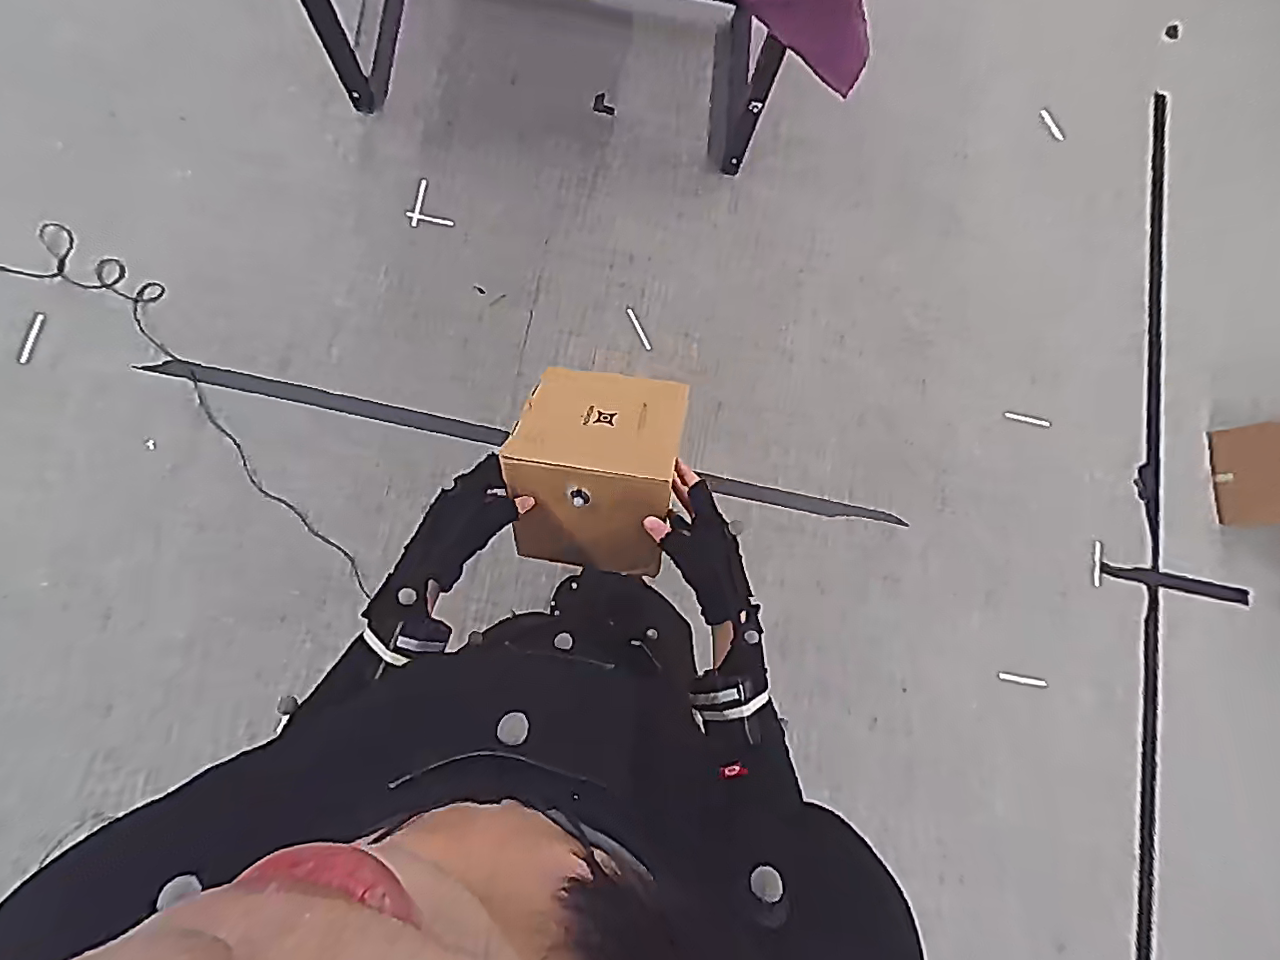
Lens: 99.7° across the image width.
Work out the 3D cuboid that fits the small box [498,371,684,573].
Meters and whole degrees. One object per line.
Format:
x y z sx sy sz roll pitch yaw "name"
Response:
-0.049 -0.008 0.646 0.179 0.176 0.168 8 45 5 "small box"
